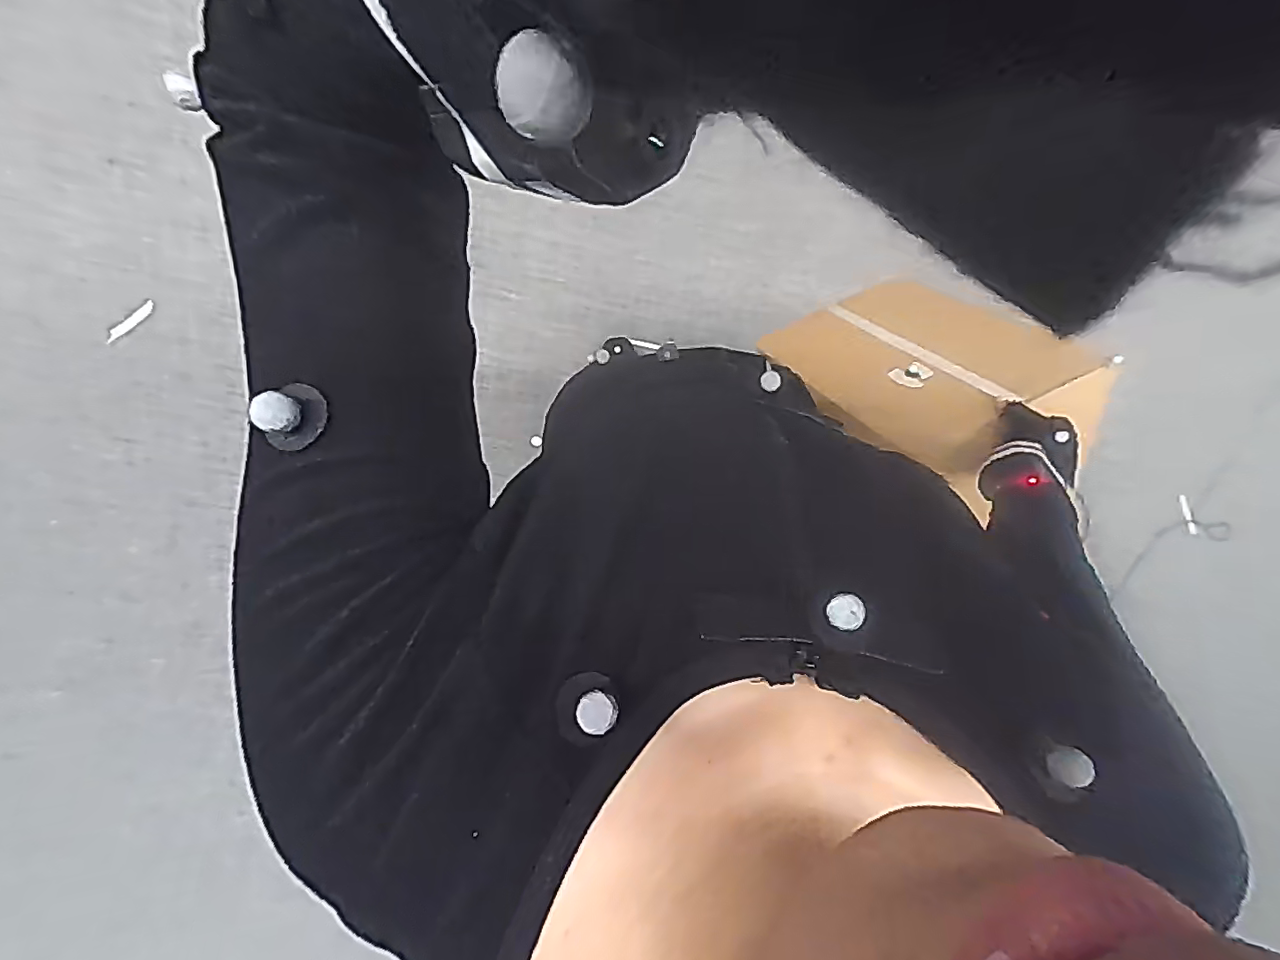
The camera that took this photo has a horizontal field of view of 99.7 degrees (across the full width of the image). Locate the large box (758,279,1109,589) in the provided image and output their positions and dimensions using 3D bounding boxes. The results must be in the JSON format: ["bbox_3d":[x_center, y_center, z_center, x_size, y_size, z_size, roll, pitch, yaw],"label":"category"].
[{"bbox_3d":[0.451,-0.096,0.940,0.320,0.408,0.320,-25,131,-5],"label":"large box"}]
